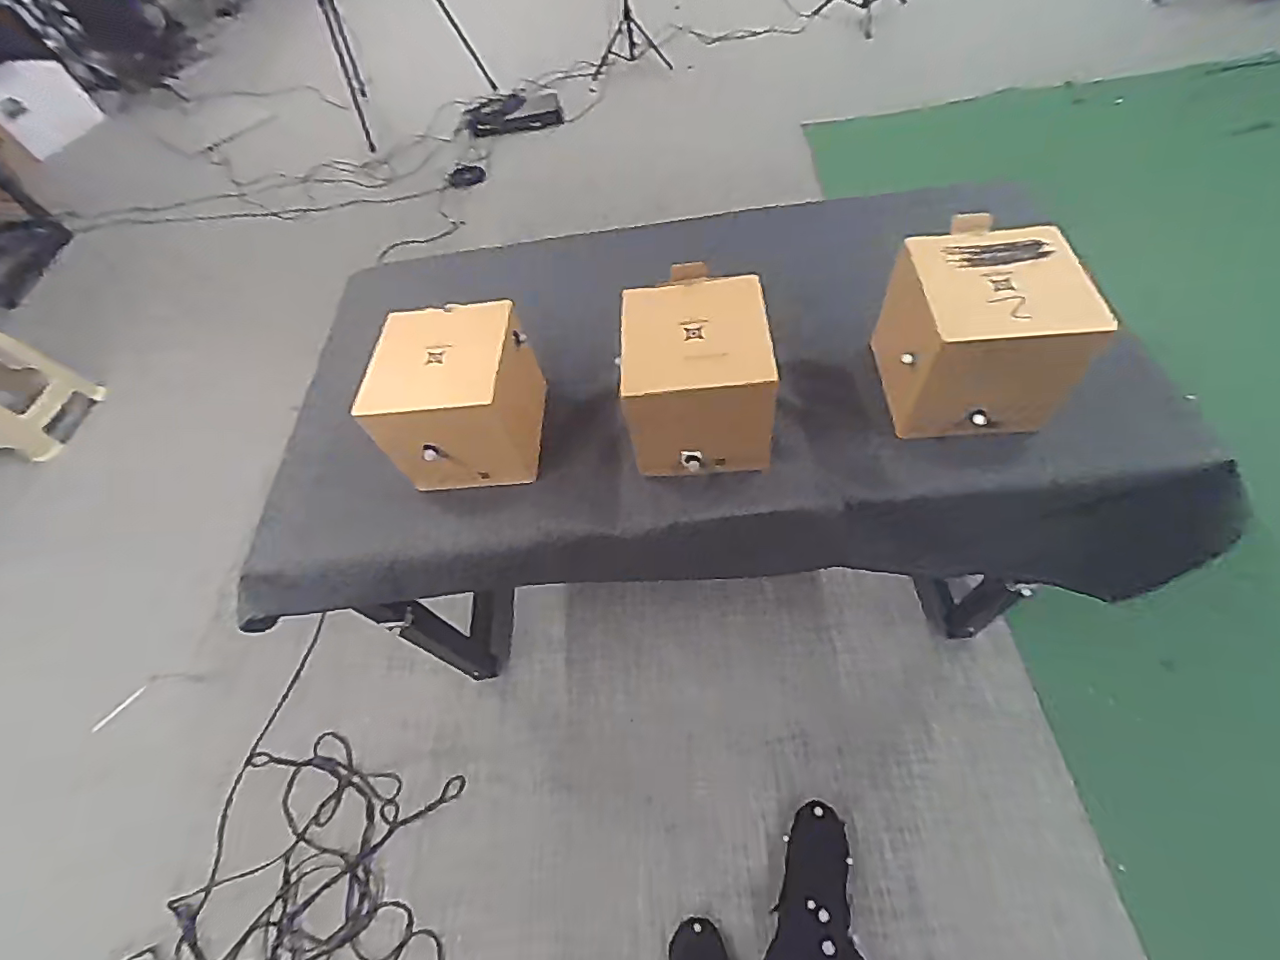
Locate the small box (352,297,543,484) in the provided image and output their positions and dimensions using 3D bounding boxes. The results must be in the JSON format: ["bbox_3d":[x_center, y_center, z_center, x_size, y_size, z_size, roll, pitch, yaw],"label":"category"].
[{"bbox_3d":[-0.232,-0.106,0.706,0.168,0.176,0.179,-5,56,6],"label":"small box"}]

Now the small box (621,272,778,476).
[{"bbox_3d":[0.071,-0.126,0.672,0.168,0.176,0.179,-6,57,7],"label":"small box"}]
